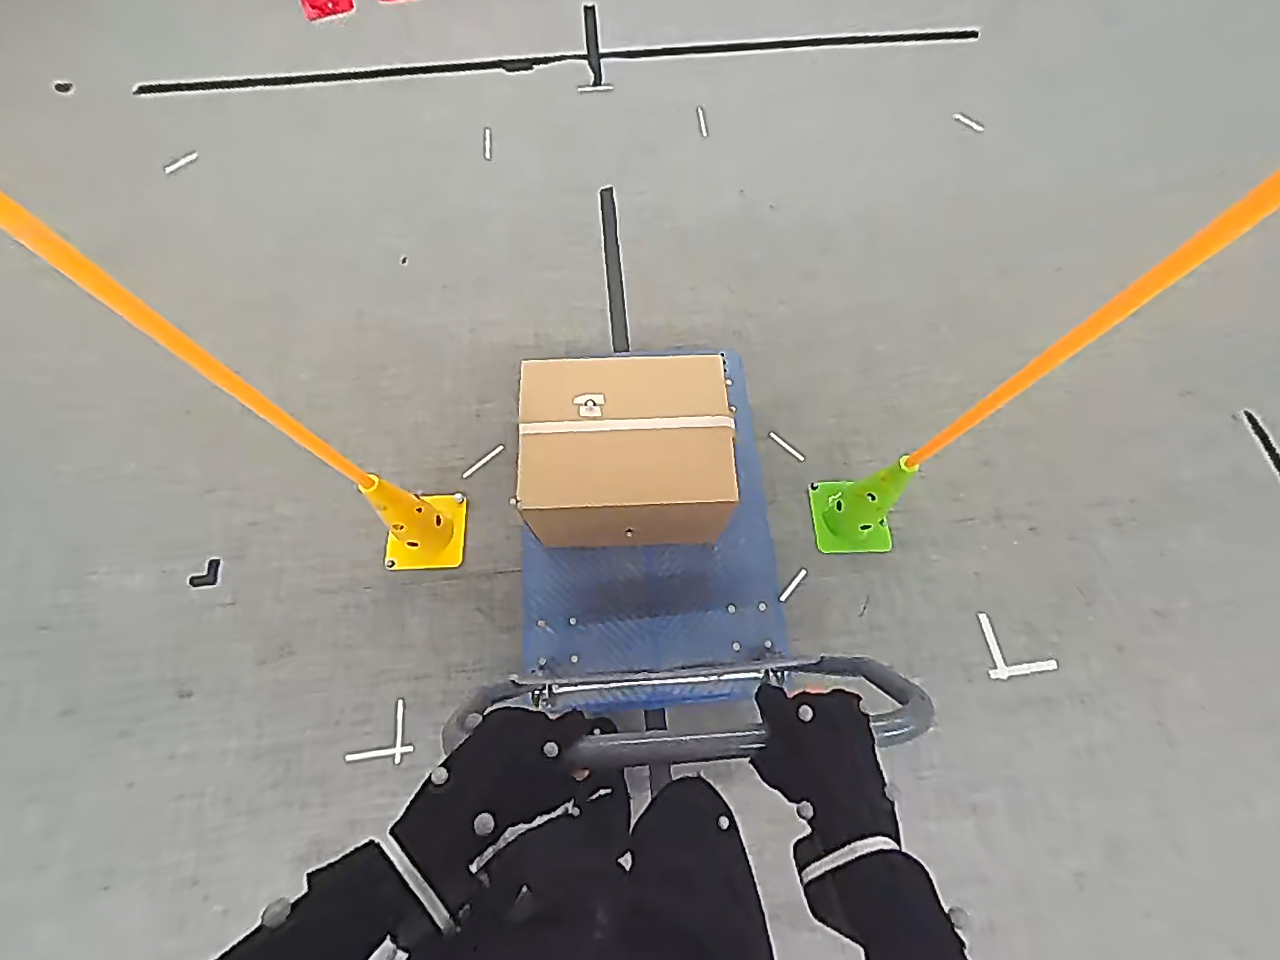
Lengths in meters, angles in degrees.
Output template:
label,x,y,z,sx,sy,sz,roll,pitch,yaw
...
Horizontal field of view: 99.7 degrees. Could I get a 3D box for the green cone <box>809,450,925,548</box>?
label,x,y,z,sx,sy,sz,roll,pitch,yaw
green cone,0.572,0.023,1.306,0.202,0.368,0.200,-1,69,-2

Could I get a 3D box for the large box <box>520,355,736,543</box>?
label,x,y,z,sx,sy,sz,roll,pitch,yaw
large box,-0.026,-0.051,1.177,0.408,0.320,0.320,-2,70,-1
